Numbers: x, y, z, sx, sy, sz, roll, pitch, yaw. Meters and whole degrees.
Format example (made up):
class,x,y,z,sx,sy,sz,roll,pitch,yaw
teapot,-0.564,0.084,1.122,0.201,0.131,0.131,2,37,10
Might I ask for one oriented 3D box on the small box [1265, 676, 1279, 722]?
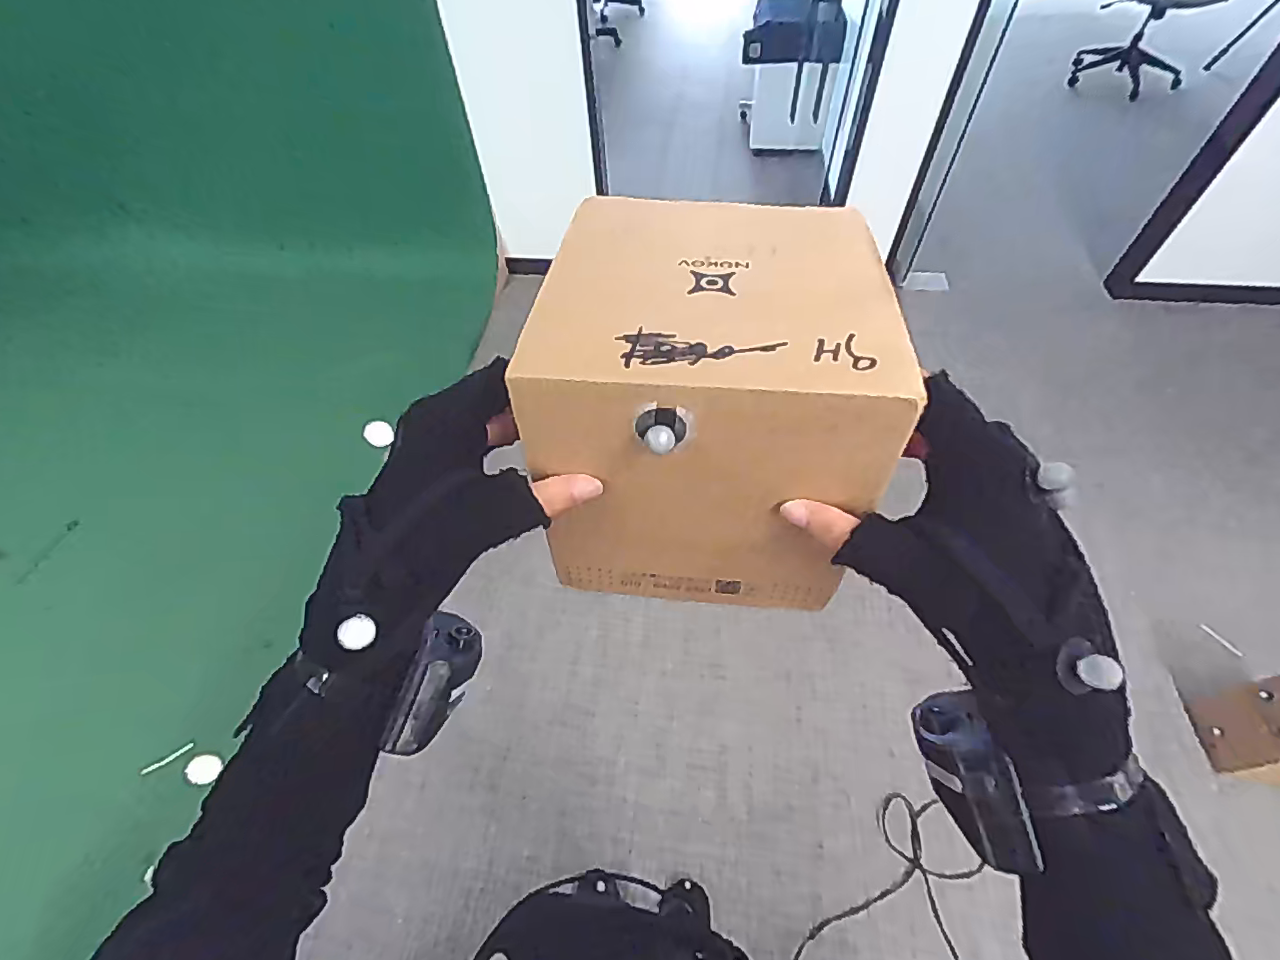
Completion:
class,x,y,z,sx,sy,sz,roll,pitch,yaw
small box,1.423,0.469,1.069,0.179,0.176,0.168,5,54,6

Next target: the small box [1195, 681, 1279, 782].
class,x,y,z,sx,sy,sz,roll,pitch,yaw
small box,1.423,0.564,1.202,0.179,0.176,0.168,5,54,7

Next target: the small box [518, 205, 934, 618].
class,x,y,z,sx,sy,sz,roll,pitch,yaw
small box,0.042,-0.042,0.324,0.168,0.176,0.179,4,48,6
